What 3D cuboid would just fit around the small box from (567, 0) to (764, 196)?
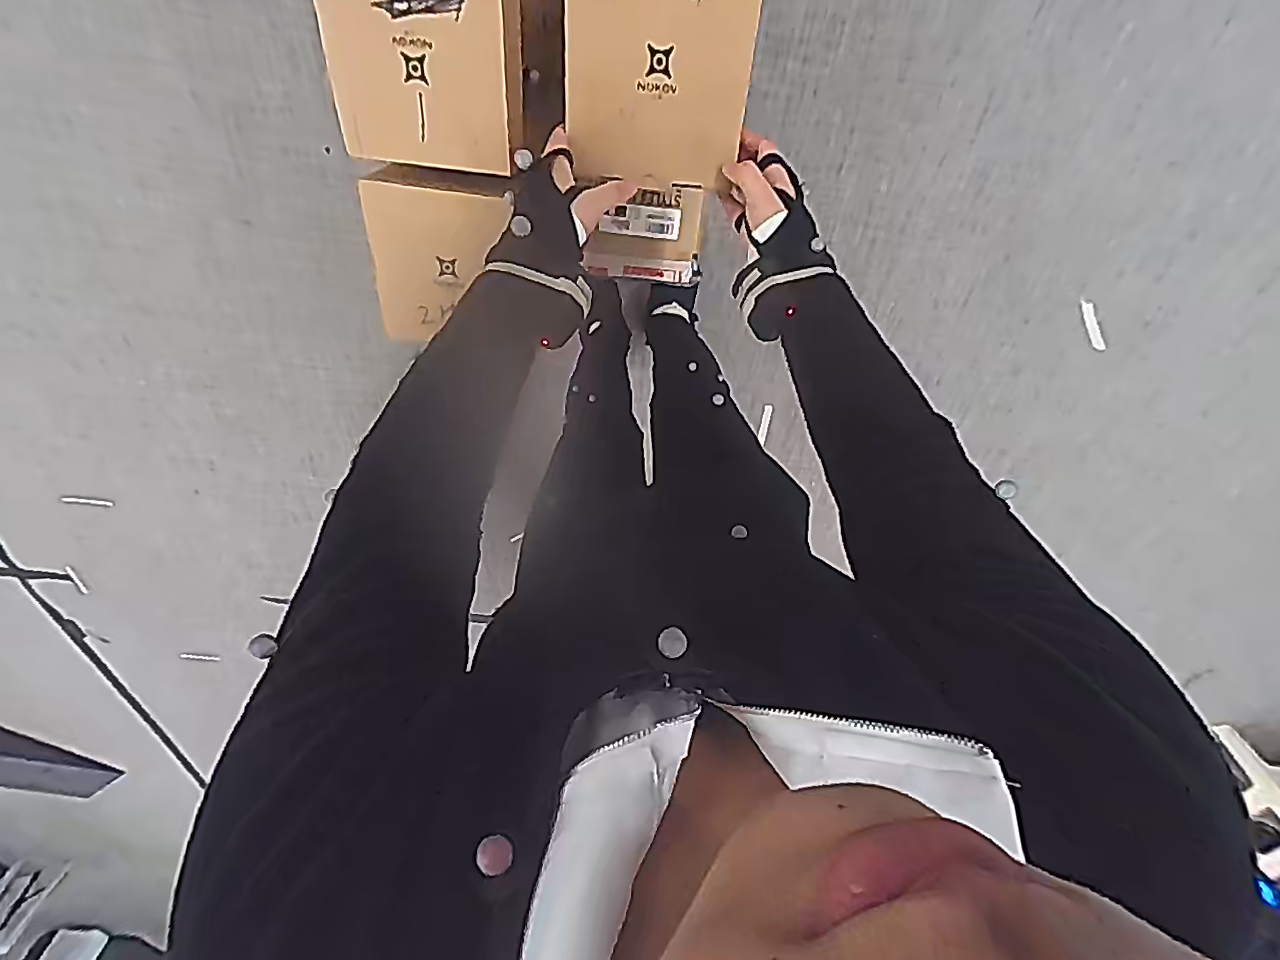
[{"bbox_3d":[0.021,-0.405,0.543,0.168,0.176,0.179,5,128,-1],"label":"small box"}]
